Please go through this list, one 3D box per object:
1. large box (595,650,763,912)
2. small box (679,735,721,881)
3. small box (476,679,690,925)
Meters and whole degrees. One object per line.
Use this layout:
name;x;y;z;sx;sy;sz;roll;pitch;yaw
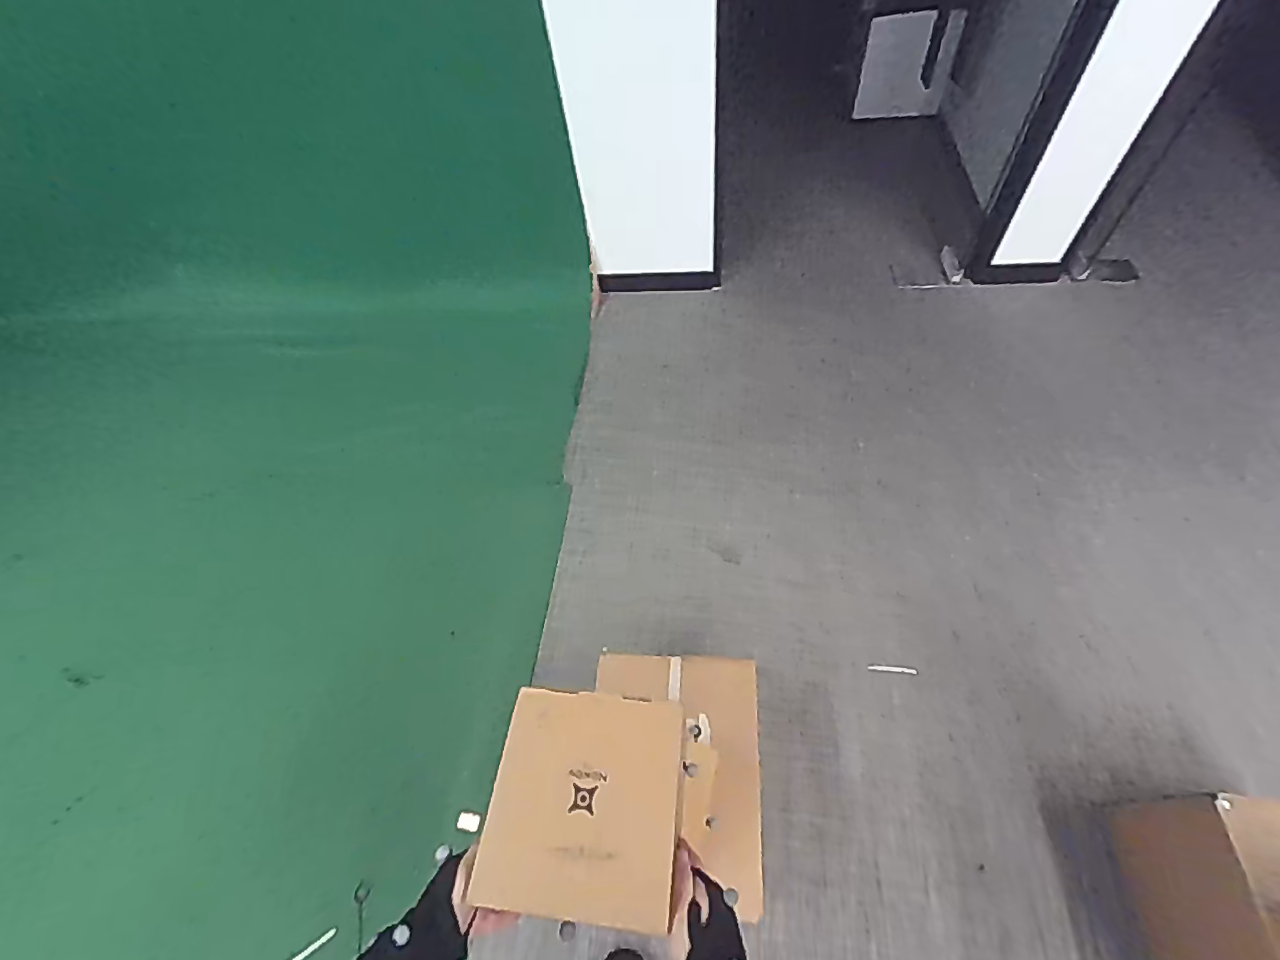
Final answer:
large box;0.073;0.593;1.090;0.320;0.320;0.408;1;56;8
small box;0.032;0.503;0.861;0.168;0.176;0.179;9;59;15
small box;-0.039;0.325;0.548;0.168;0.176;0.179;3;52;9
